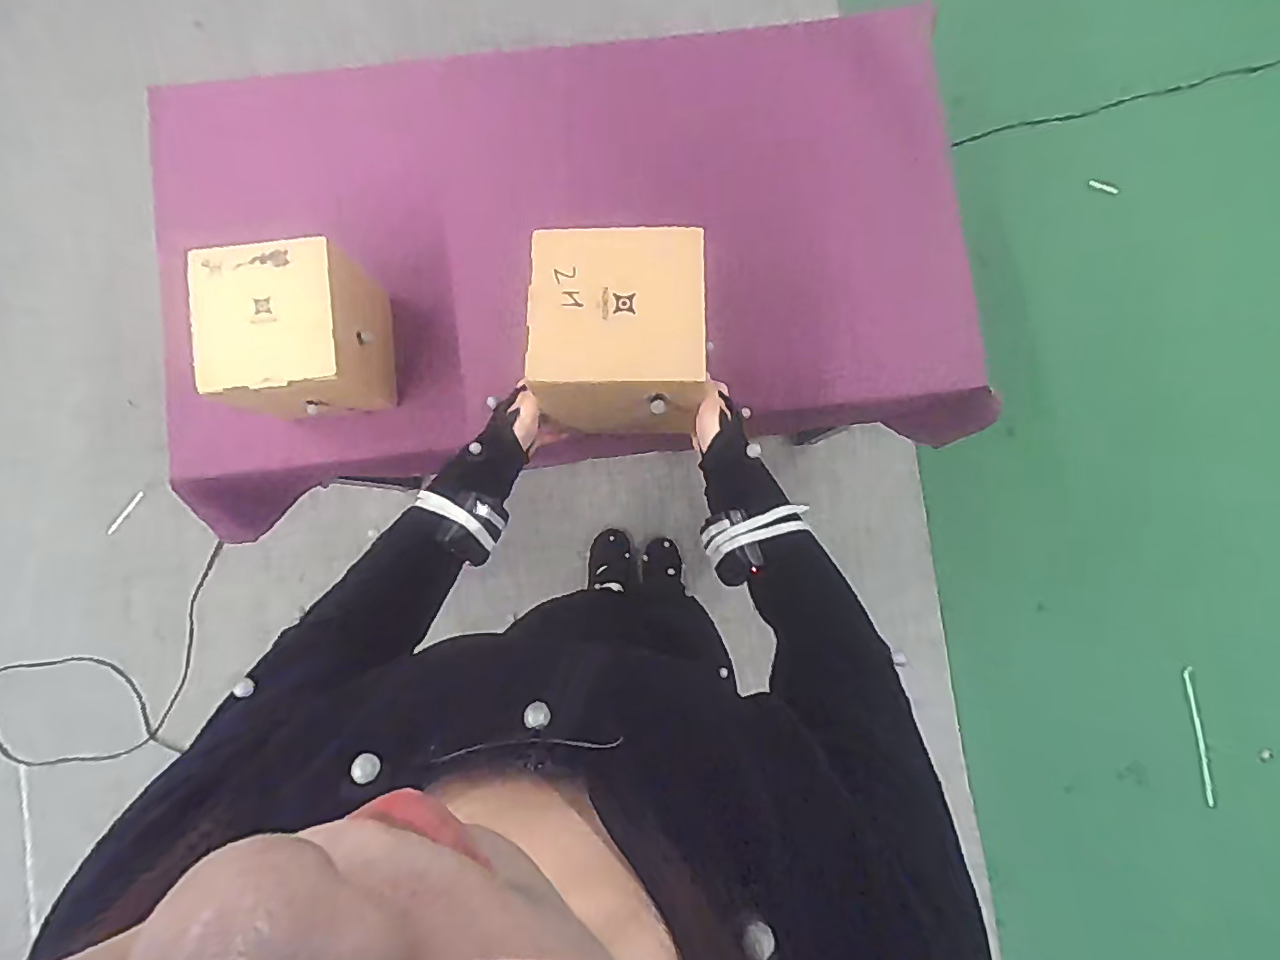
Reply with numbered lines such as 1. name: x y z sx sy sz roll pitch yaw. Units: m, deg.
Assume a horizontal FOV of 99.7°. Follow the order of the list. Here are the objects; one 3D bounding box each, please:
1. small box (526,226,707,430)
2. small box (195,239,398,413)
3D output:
1. small box: -0.018 -0.160 0.612 0.179 0.176 0.168 0 77 3
2. small box: -0.441 -0.190 0.720 0.168 0.176 0.179 -6 86 -1
